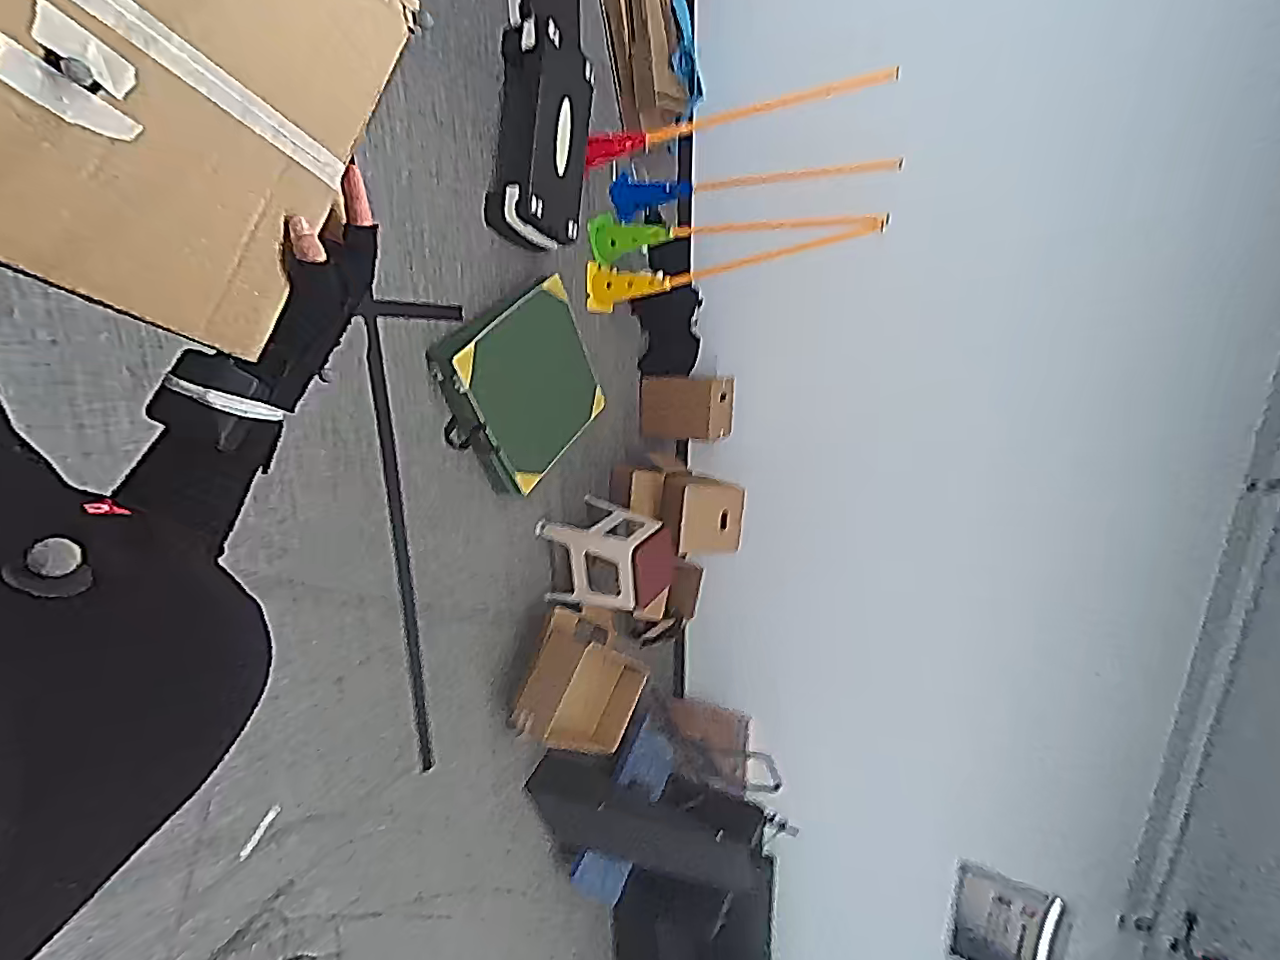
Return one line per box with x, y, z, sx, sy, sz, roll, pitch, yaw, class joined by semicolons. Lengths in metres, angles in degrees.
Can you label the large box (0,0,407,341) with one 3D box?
-0.458;-0.334;0.346;0.408;0.320;0.320;27;84;-56;large box
